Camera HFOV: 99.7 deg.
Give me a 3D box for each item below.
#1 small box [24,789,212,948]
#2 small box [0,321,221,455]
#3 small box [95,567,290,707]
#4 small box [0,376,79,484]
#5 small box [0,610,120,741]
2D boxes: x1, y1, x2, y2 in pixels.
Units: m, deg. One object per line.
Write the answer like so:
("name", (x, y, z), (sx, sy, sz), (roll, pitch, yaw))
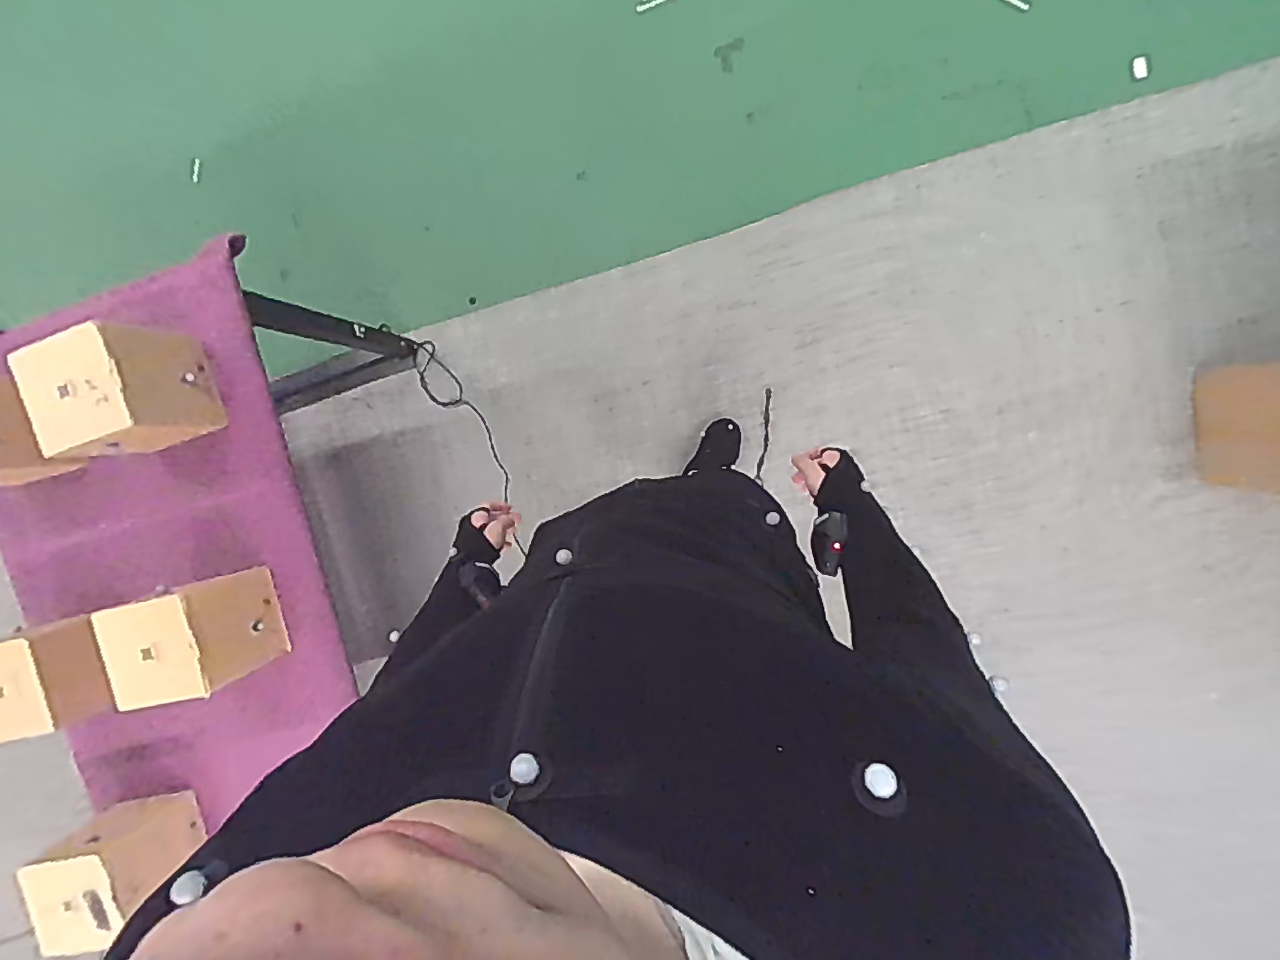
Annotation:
("small box", (-0.941, 0.704, 0.999), (0.179, 0.176, 0.168), (-14, 94, 7))
("small box", (-0.854, -0.145, 0.890), (0.179, 0.176, 0.168), (-15, 96, 8))
("small box", (-0.756, 0.262, 0.930), (0.179, 0.176, 0.168), (-13, 95, 8))
("small box", (-1.150, -0.080, 0.933), (0.179, 0.176, 0.168), (-14, 96, 8))
("small box", (-1.050, 0.343, 0.973), (0.179, 0.176, 0.168), (-12, 96, 6))
